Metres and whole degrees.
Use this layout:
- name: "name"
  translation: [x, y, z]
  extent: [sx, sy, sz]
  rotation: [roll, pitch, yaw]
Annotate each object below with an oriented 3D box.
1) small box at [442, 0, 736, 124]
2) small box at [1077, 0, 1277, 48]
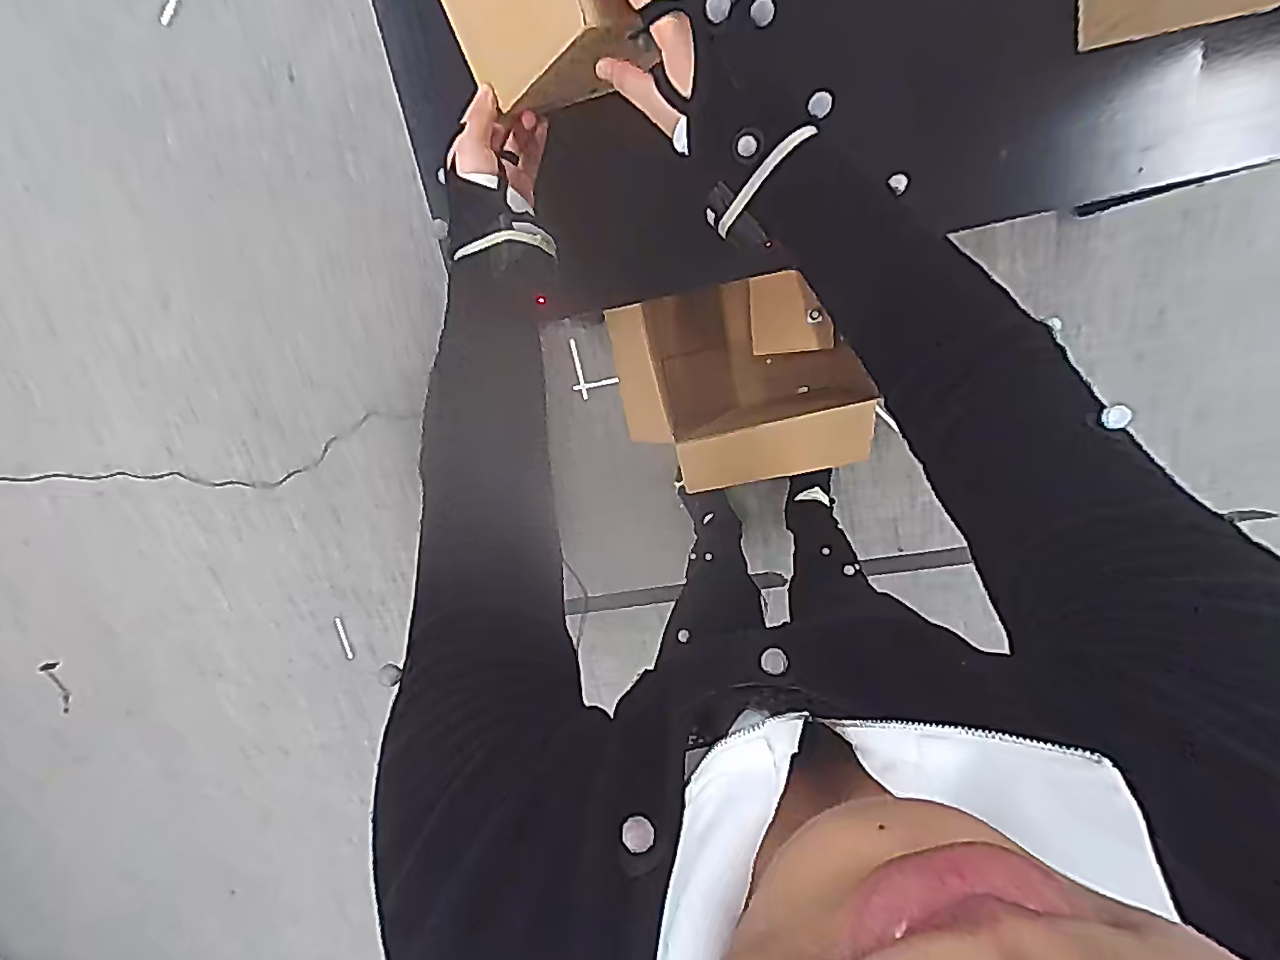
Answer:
- name: "small box"
  translation: [-0.059, -0.420, 0.422]
  extent: [0.168, 0.176, 0.179]
  rotation: [-36, 117, -27]
- name: "small box"
  translation: [0.481, -0.477, 0.414]
  extent: [0.179, 0.176, 0.168]
  rotation: [-9, 104, 6]
